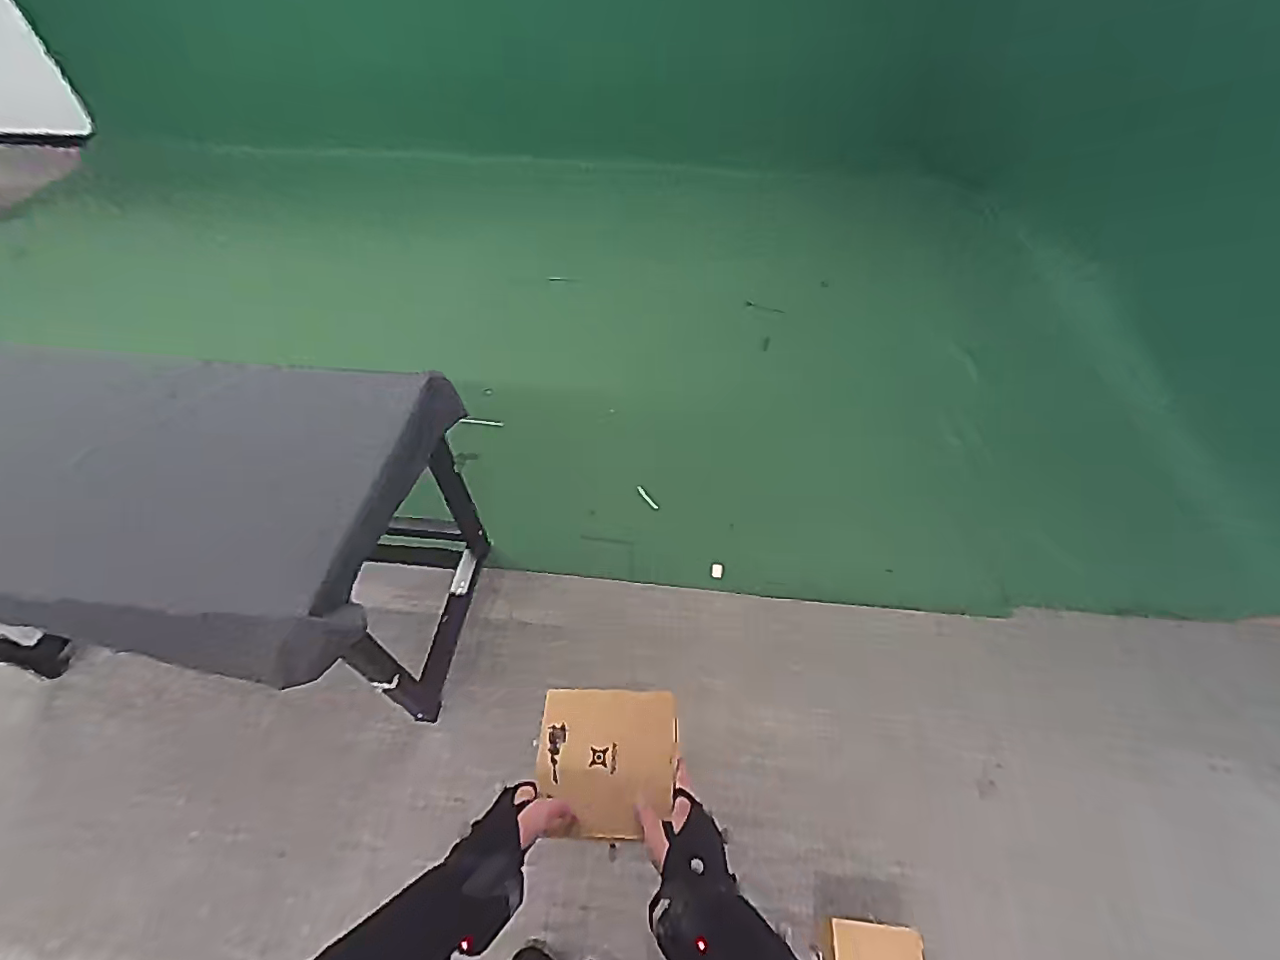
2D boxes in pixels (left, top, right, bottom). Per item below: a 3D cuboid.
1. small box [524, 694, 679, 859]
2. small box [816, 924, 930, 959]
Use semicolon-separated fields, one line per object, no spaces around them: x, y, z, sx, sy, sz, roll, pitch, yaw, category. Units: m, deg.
-0.039;0.402;0.728;0.179;0.176;0.168;1;52;5;small box
0.465;1.008;1.079;0.179;0.176;0.168;7;49;5;small box
